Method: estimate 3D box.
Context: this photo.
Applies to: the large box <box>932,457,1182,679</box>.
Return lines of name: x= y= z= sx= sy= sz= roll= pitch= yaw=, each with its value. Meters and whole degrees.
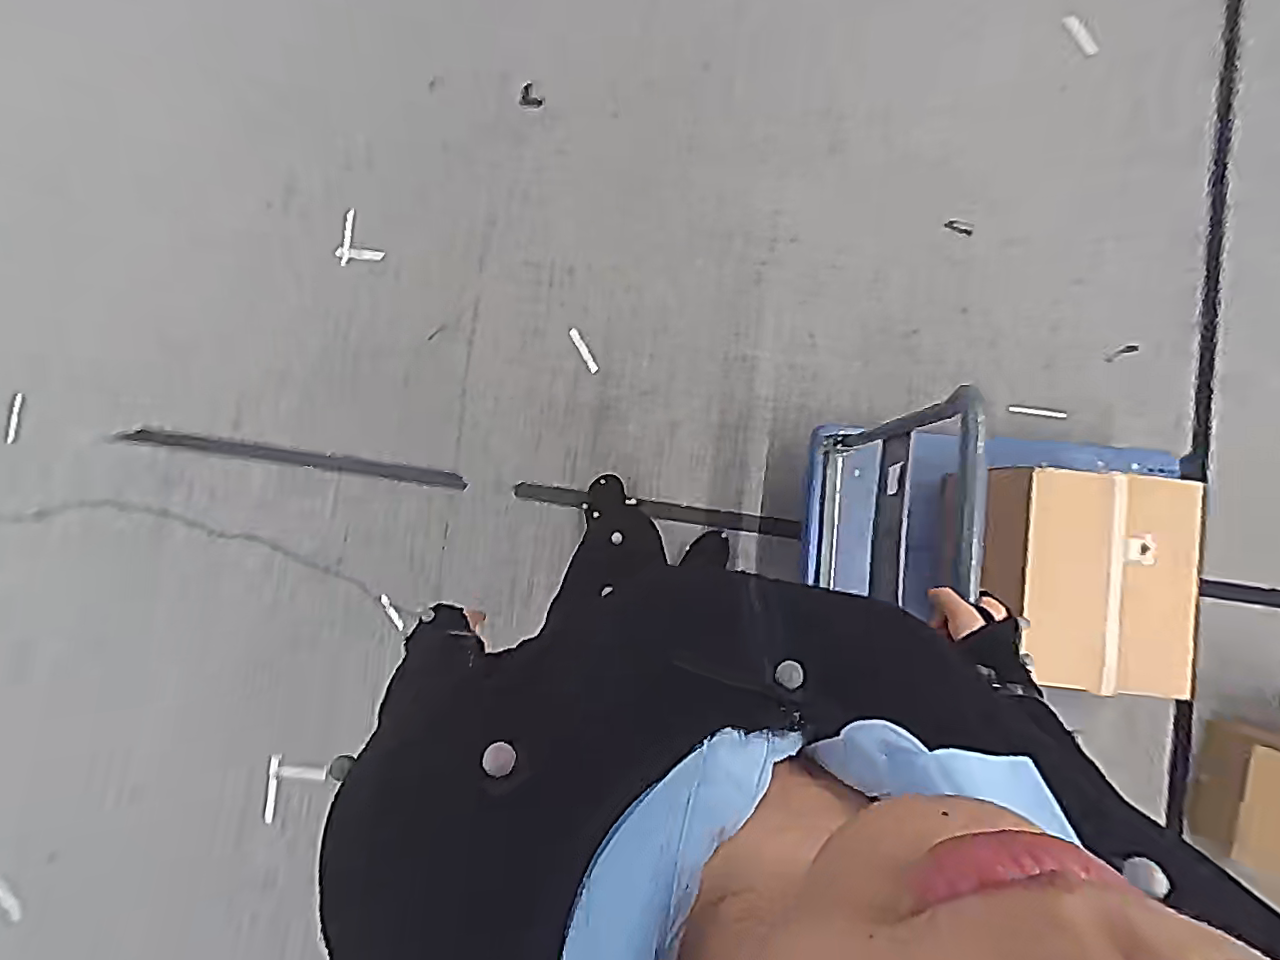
large box: x=0.868 y=0.175 z=1.170 sx=0.320 sy=0.320 sz=0.408 roll=6 pitch=87 yaw=1
